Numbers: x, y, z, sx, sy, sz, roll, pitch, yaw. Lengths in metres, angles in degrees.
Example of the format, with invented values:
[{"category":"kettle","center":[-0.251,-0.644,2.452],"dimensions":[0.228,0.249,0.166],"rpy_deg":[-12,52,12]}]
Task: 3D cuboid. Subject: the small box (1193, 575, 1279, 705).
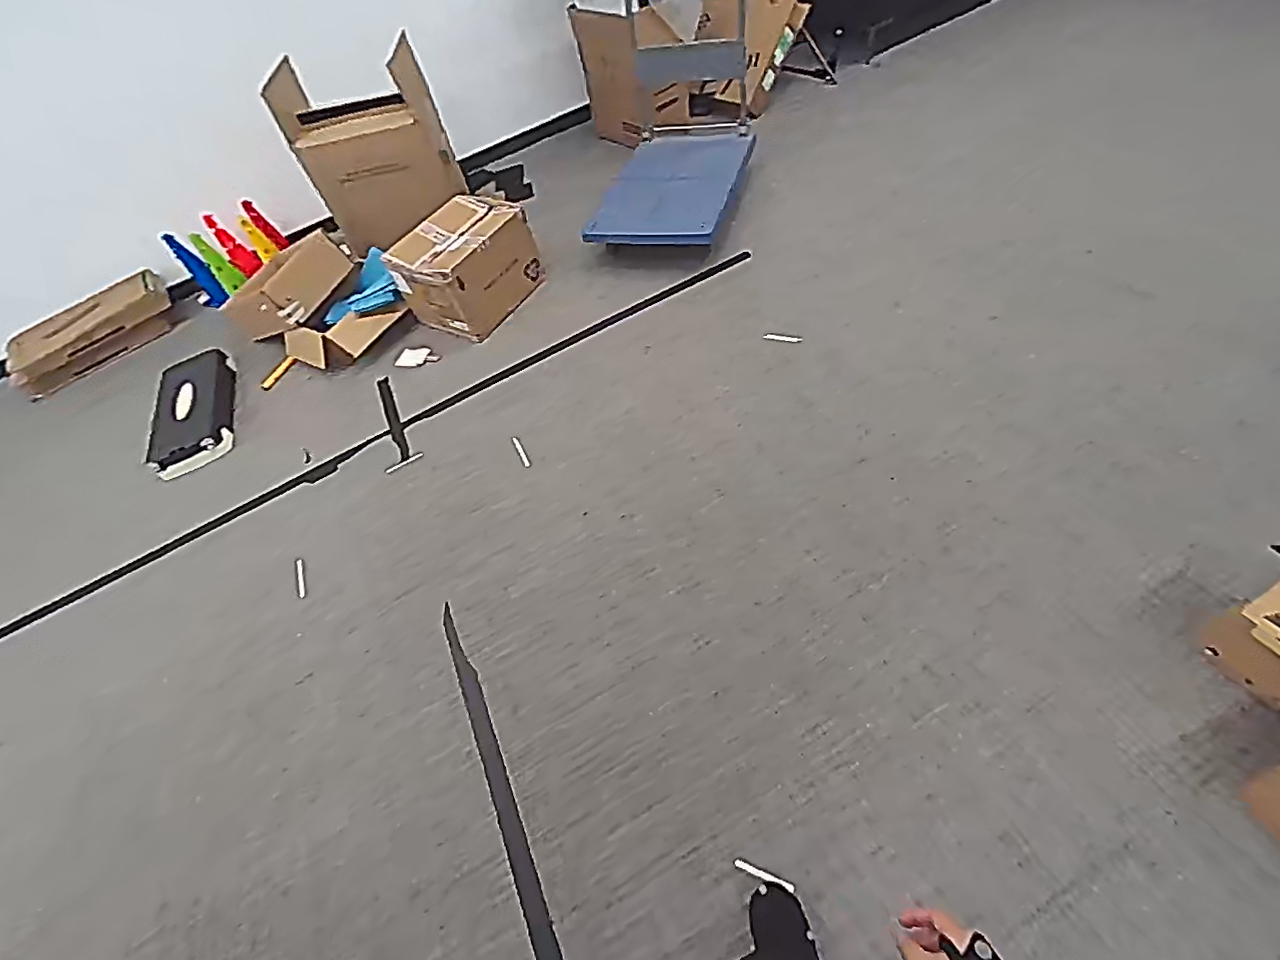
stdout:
[{"category":"small box","center":[1.272,0.316,1.072],"dimensions":[0.179,0.176,0.168],"rpy_deg":[-30,53,-10]}]
